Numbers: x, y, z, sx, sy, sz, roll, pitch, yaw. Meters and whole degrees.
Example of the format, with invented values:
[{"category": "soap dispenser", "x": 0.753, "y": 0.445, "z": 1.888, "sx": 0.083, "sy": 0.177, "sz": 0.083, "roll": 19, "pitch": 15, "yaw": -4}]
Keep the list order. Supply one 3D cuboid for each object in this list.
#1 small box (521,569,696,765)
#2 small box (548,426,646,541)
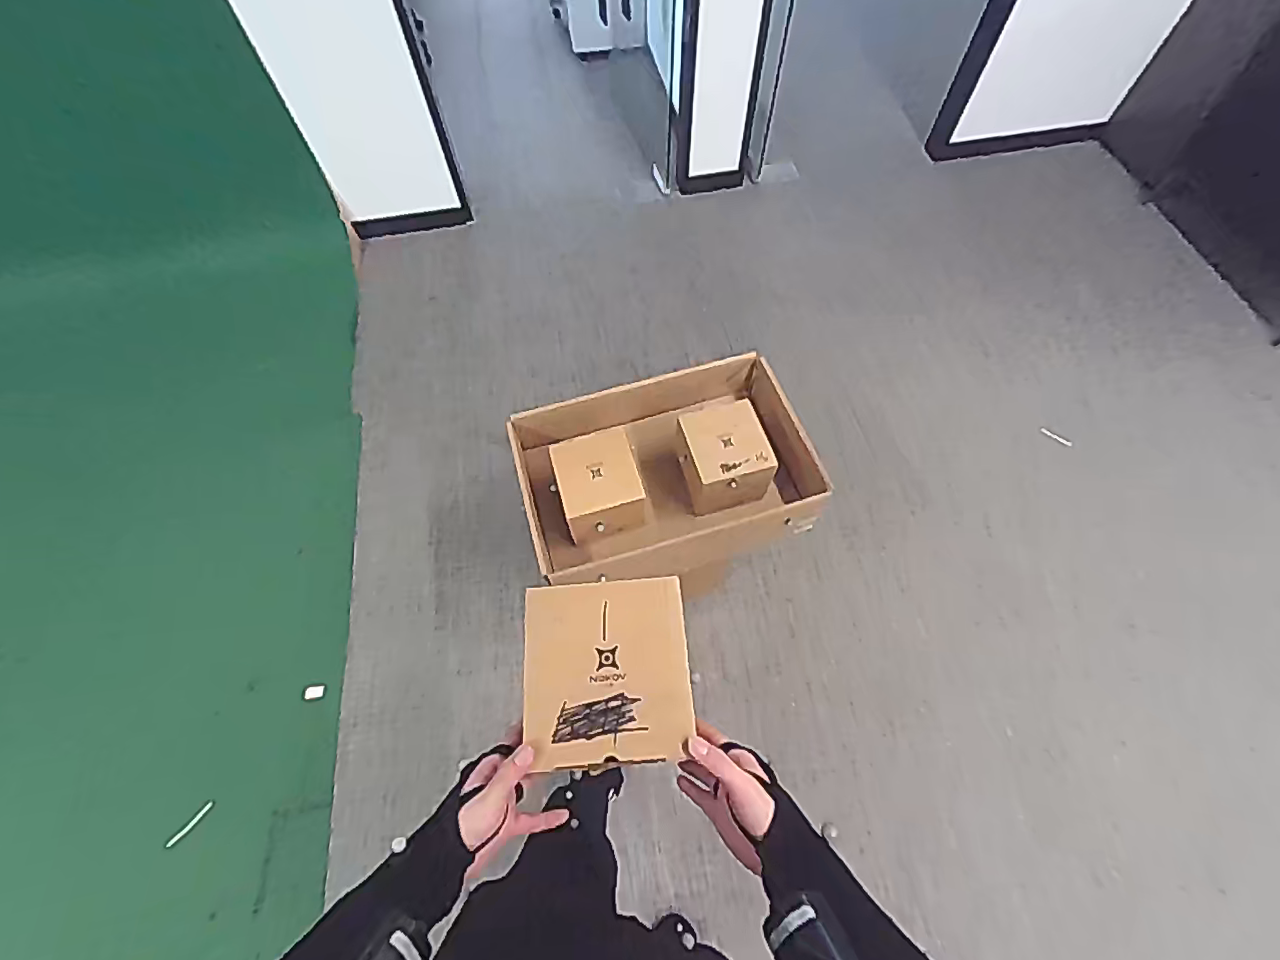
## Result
[{"category": "small box", "x": -0.030, "y": 0.210, "z": 0.600, "sx": 0.168, "sy": 0.176, "sz": 0.179, "roll": -4, "pitch": 63, "yaw": -1}, {"category": "small box", "x": -0.087, "y": 0.017, "z": 1.159, "sx": 0.168, "sy": 0.176, "sz": 0.179, "roll": -15, "pitch": 63, "yaw": -7}]
